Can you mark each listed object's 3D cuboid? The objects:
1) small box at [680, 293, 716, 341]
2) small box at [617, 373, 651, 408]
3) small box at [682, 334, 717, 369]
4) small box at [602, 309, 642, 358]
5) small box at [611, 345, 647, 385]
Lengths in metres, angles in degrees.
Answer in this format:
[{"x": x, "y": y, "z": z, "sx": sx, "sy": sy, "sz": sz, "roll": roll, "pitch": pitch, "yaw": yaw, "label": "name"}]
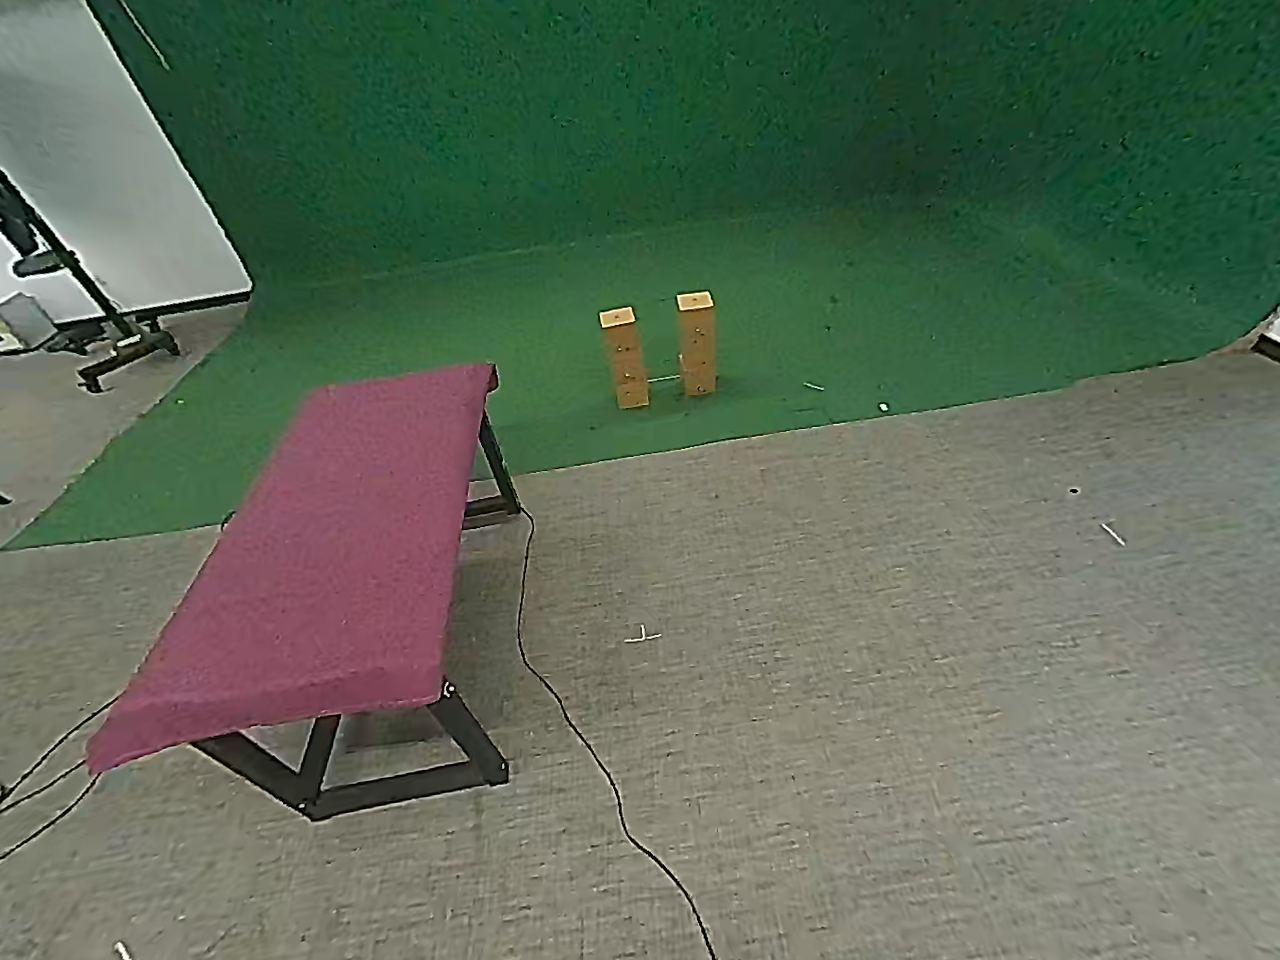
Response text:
[{"x": 0.290, "y": -0.822, "z": 2.731, "sx": 0.168, "sy": 0.176, "sz": 0.179, "roll": -6, "pitch": 43, "yaw": 3, "label": "small box"}, {"x": -0.035, "y": -0.502, "z": 2.934, "sx": 0.168, "sy": 0.176, "sz": 0.179, "roll": -9, "pitch": 41, "yaw": 1, "label": "small box"}, {"x": 0.312, "y": -0.704, "z": 2.844, "sx": 0.168, "sy": 0.176, "sz": 0.179, "roll": -6, "pitch": 42, "yaw": 3, "label": "small box"}, {"x": -0.091, "y": -0.735, "z": 2.711, "sx": 0.168, "sy": 0.176, "sz": 0.179, "roll": -11, "pitch": 41, "yaw": 0, "label": "small box"}, {"x": -0.063, "y": -0.617, "z": 2.820, "sx": 0.168, "sy": 0.176, "sz": 0.179, "roll": -11, "pitch": 42, "yaw": -1, "label": "small box"}]
